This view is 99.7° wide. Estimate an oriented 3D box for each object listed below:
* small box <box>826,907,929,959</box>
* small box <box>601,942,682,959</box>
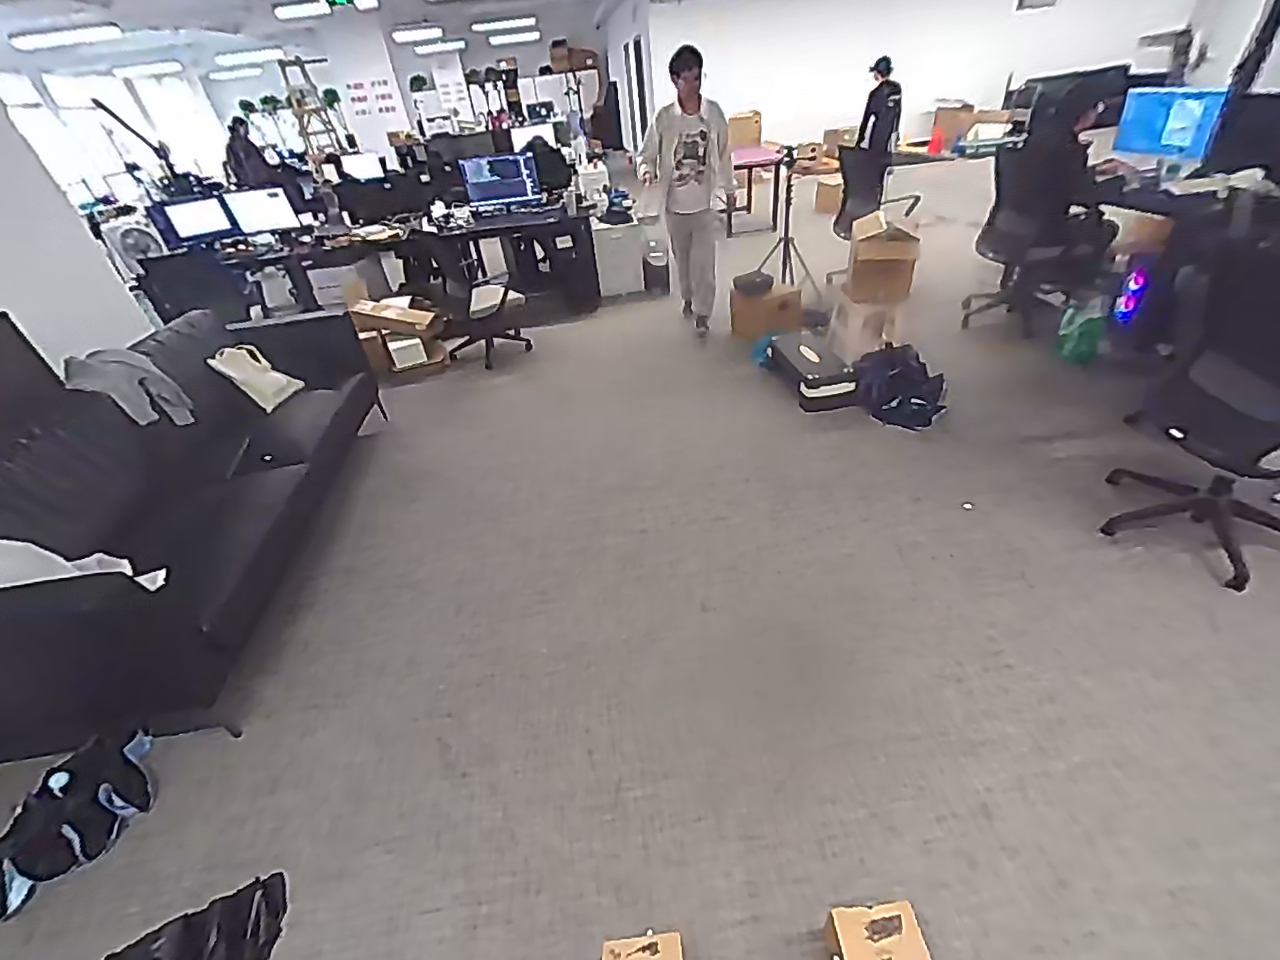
[{"bbox_3d":[0.487,1.005,1.092,0.168,0.176,0.179,-8,37,1],"label":"small box"},{"bbox_3d":[0.015,1.072,1.088,0.168,0.176,0.179,-7,35,0],"label":"small box"}]
